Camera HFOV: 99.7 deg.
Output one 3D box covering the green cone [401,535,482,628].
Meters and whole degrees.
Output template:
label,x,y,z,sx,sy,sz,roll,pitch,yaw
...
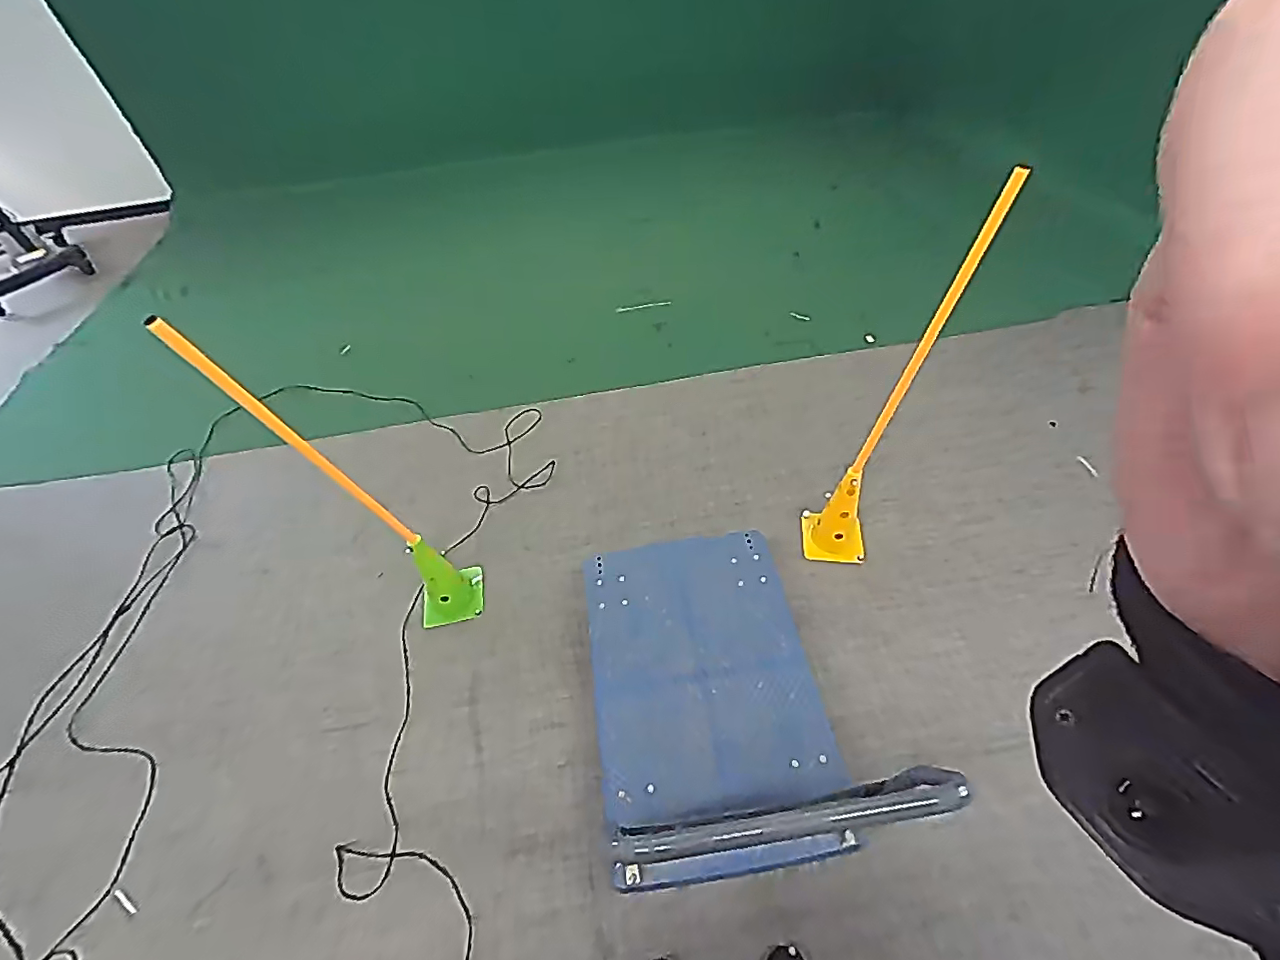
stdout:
label,x,y,z,sx,sy,sz,roll,pitch,yaw
green cone,-0.659,0.287,1.721,0.202,0.368,0.200,-14,49,-4
